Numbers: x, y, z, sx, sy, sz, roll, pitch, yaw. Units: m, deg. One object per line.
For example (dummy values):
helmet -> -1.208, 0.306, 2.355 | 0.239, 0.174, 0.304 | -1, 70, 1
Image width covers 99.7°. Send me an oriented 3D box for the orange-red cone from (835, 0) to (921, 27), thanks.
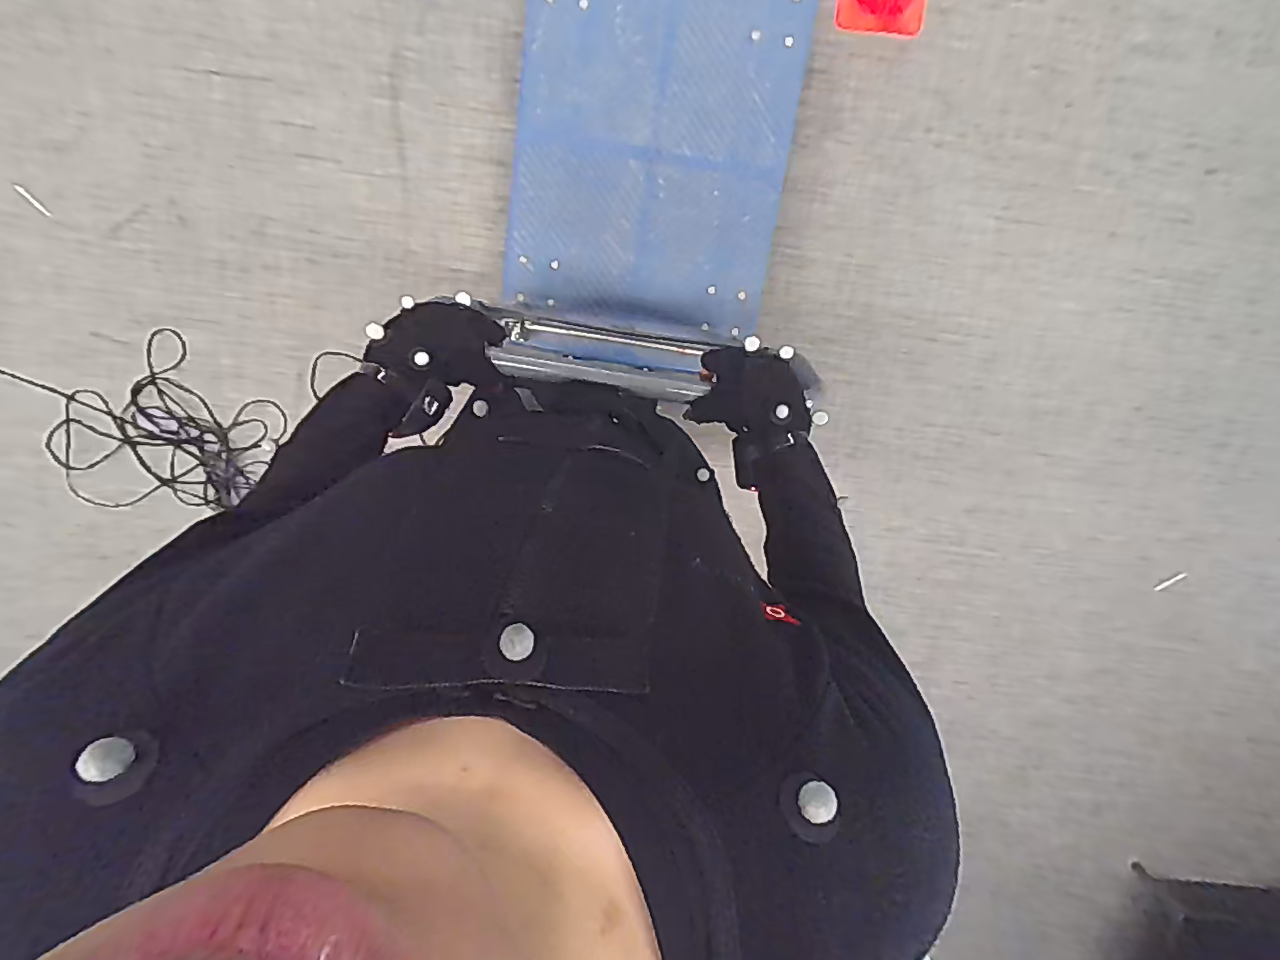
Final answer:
orange-red cone -> 0.548, -1.110, 1.058 | 0.199, 0.360, 0.198 | 7, 103, 0
